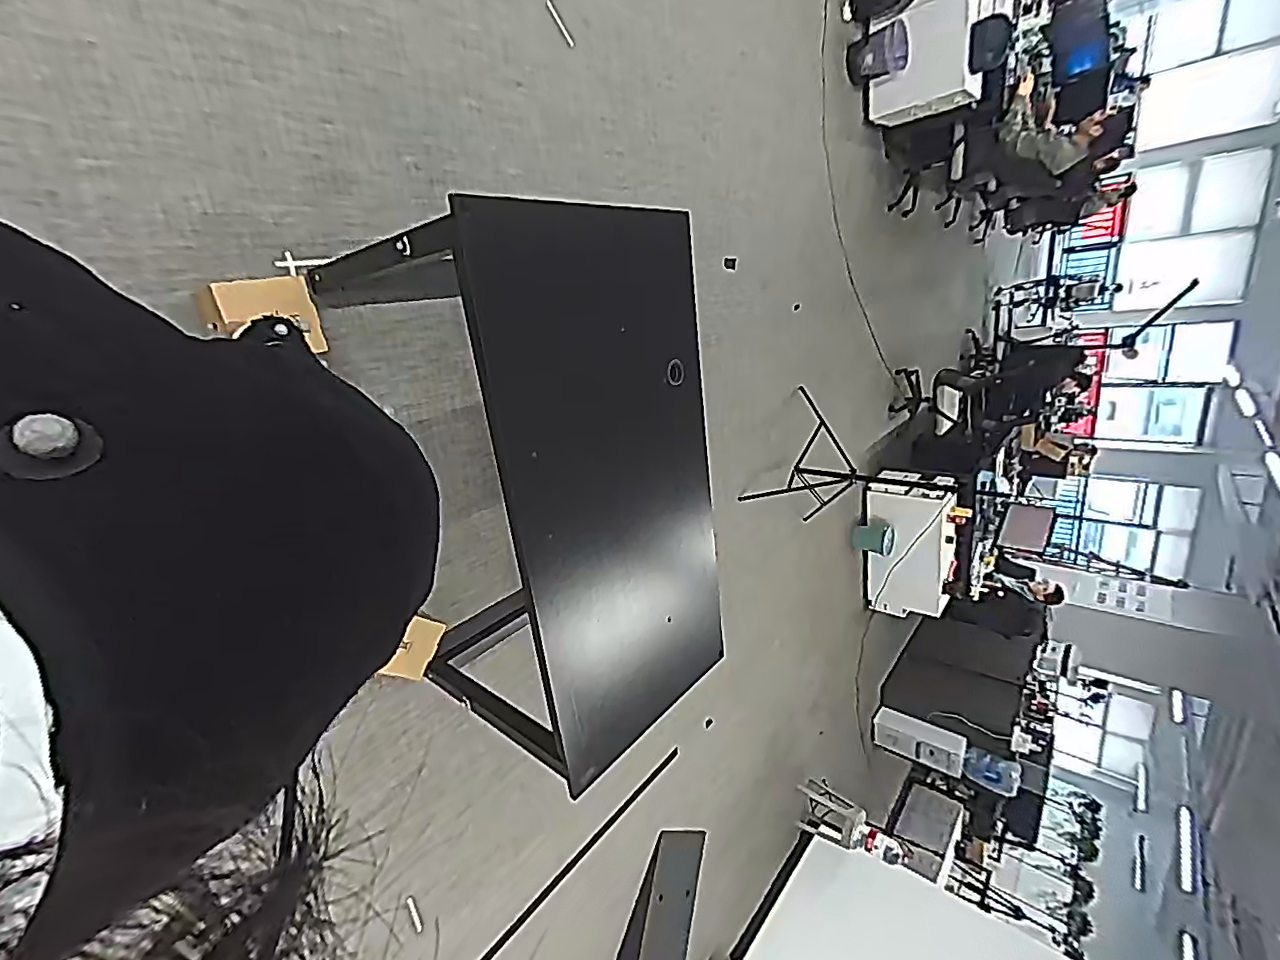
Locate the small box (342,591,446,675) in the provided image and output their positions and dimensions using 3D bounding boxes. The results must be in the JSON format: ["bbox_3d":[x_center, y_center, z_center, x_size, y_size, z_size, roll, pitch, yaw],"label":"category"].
[{"bbox_3d":[-0.688,0.426,1.512,0.179,0.176,0.168,37,69,-45],"label":"small box"}]
